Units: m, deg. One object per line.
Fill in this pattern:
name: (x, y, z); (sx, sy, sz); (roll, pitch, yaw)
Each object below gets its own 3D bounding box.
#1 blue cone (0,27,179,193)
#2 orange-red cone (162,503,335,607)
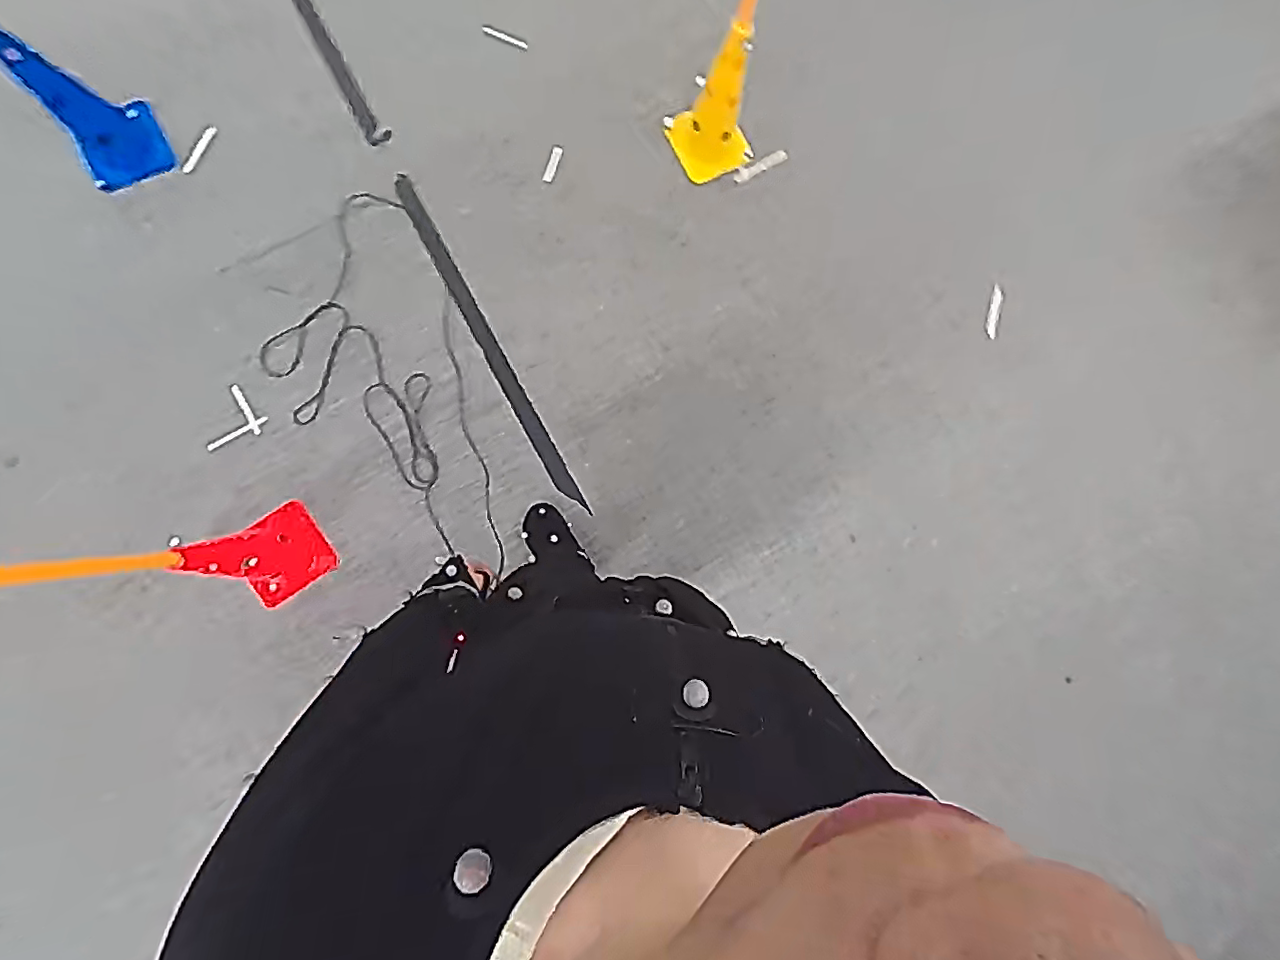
blue cone: (-1.282, -0.858, 1.214); (0.193, 0.380, 0.192); (-26, 87, -7)
orange-red cone: (-0.843, 0.159, 1.127); (0.199, 0.360, 0.198); (-34, 88, -9)
